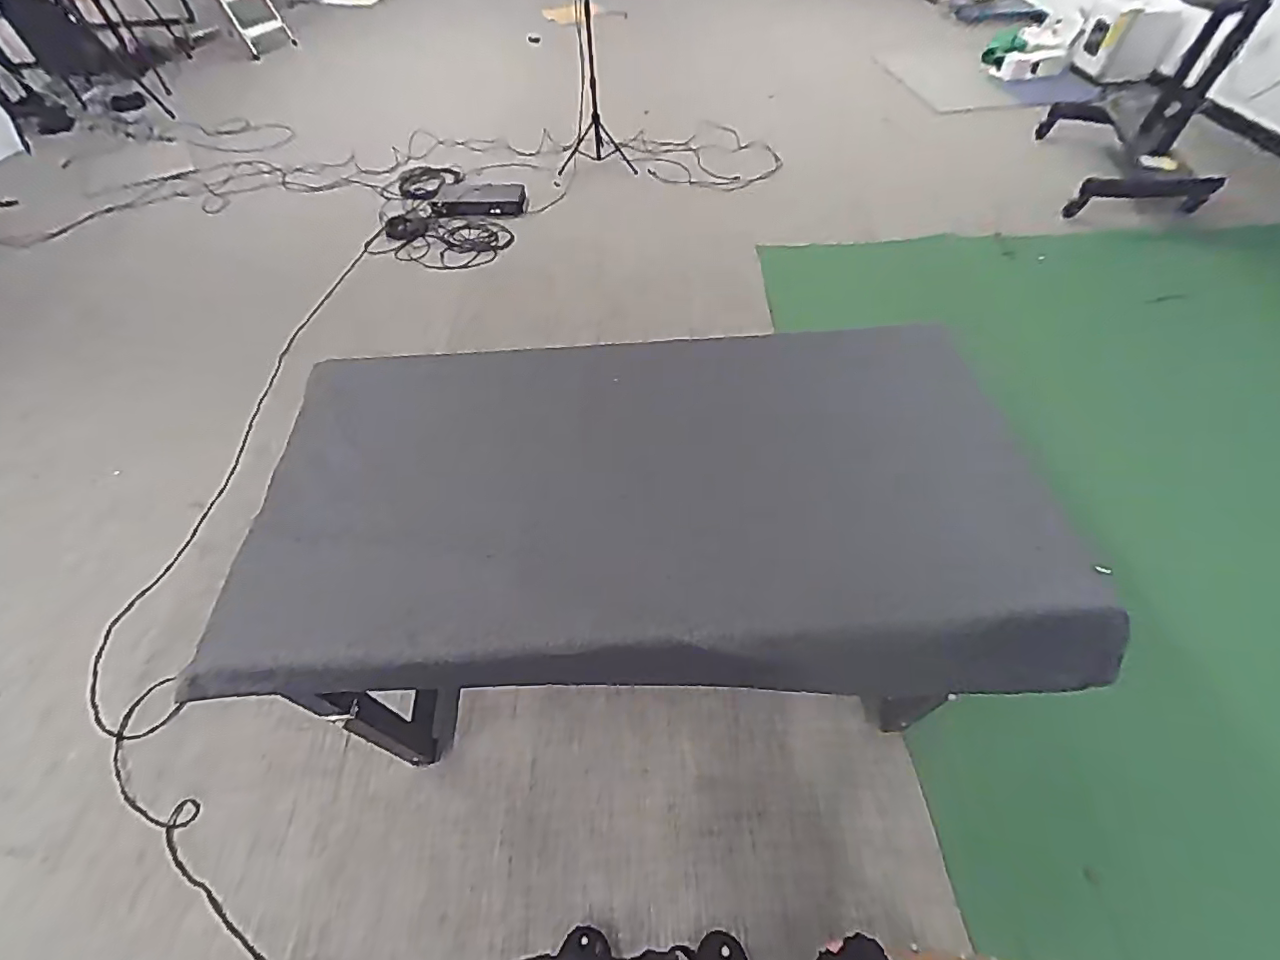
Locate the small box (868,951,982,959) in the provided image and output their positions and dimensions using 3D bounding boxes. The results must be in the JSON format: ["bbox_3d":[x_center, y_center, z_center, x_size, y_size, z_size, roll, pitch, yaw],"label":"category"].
[{"bbox_3d":[0.472,0.835,0.825,0.179,0.176,0.168,0,52,2],"label":"small box"}]

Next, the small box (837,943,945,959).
[{"bbox_3d":[0.470,0.935,0.957,0.179,0.176,0.168,0,52,2],"label":"small box"}]
